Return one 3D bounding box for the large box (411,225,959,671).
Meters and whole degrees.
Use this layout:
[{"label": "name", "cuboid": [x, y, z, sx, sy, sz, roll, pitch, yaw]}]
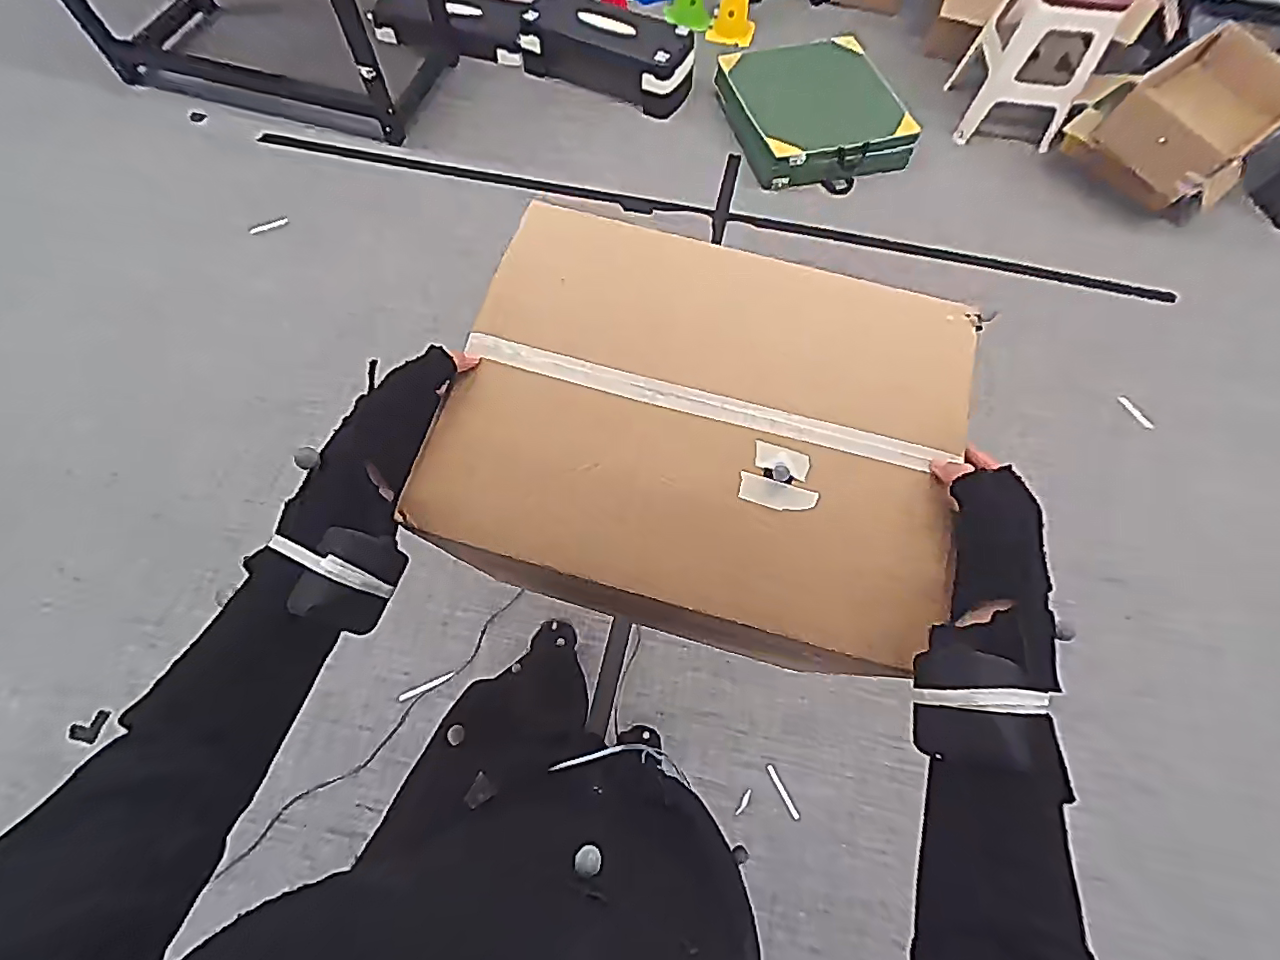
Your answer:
[{"label": "large box", "cuboid": [0.048, -0.004, 0.584, 0.408, 0.320, 0.320, 15, 73, 3]}]
